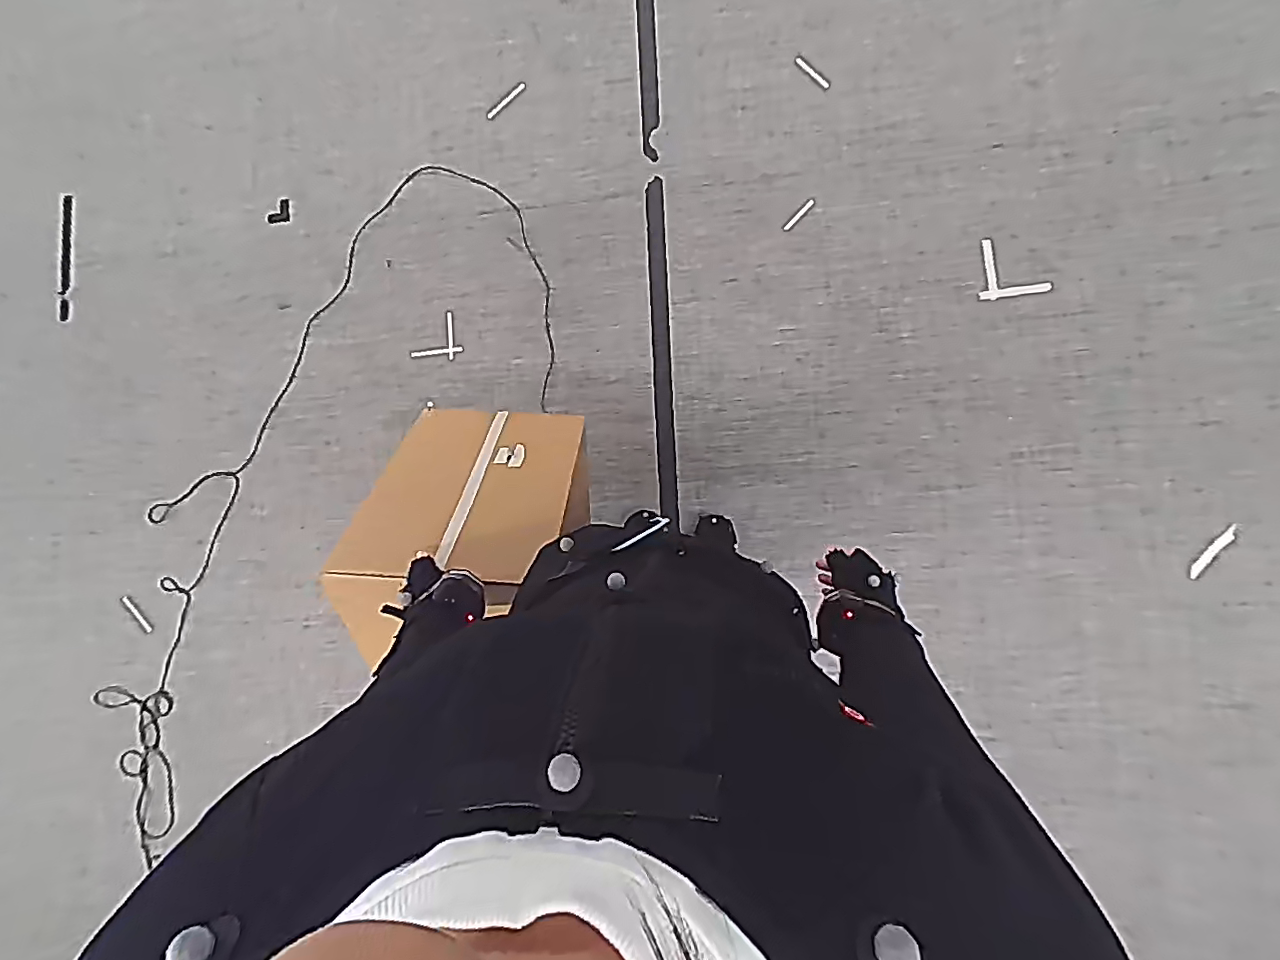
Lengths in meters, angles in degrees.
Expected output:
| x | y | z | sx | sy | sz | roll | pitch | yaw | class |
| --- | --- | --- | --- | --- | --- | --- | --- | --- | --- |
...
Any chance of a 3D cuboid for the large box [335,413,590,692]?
| x | y | z | sx | sy | sz | roll | pitch | yaw | class |
| --- | --- | --- | --- | --- | --- | --- | --- | --- | --- |
| -0.268 | 0.121 | 0.982 | 0.320 | 0.408 | 0.320 | 4 | 130 | 0 | large box |
